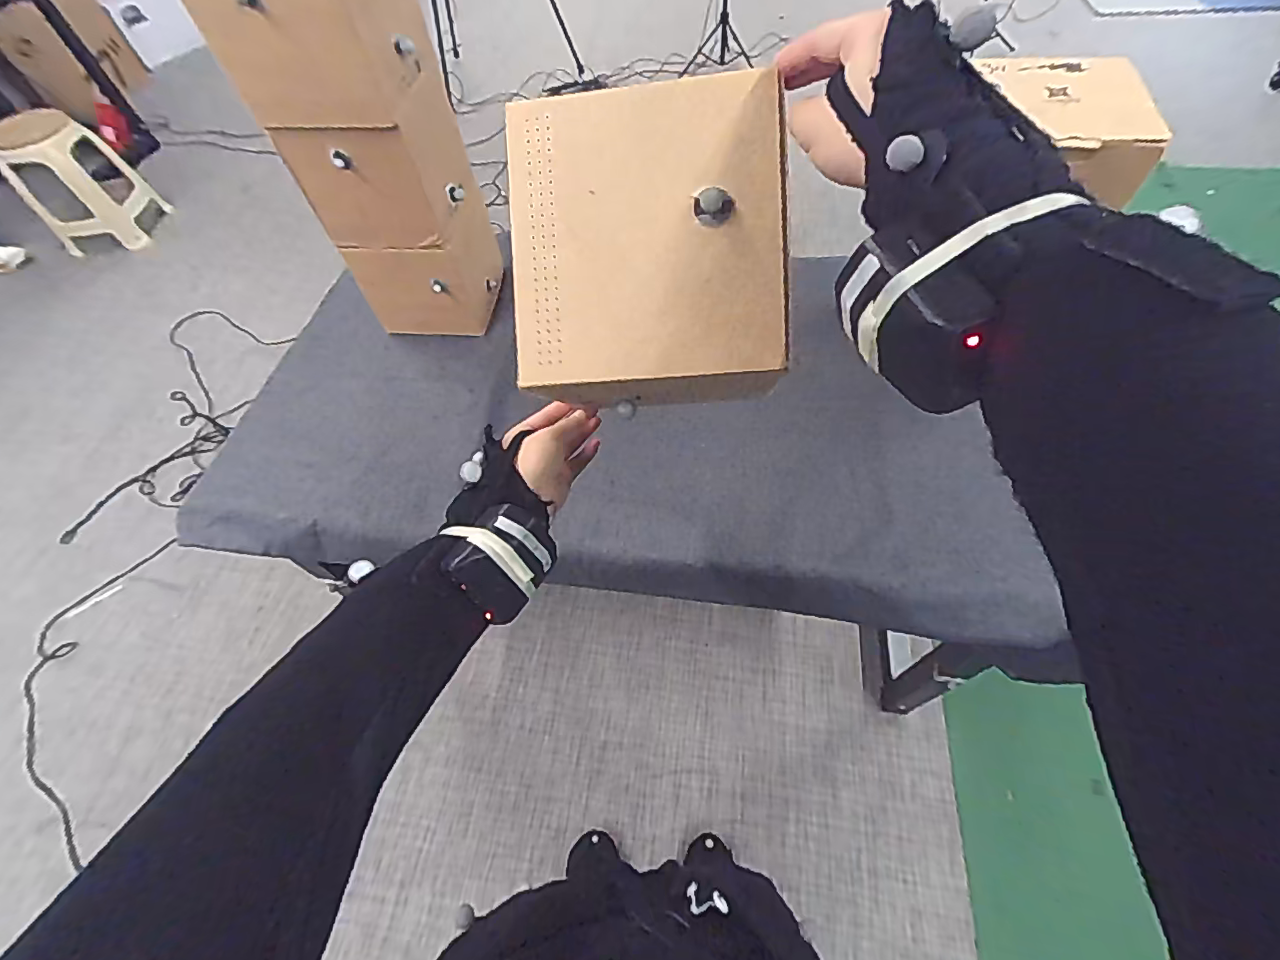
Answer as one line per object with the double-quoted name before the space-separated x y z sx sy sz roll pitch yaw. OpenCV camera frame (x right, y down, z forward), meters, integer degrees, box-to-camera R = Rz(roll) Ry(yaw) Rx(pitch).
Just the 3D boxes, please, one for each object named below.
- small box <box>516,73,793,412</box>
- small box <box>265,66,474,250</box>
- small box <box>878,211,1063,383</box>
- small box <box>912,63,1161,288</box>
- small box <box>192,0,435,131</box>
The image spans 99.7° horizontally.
"small box" 0.014 -0.149 0.401 0.176 0.168 0.179 -1 91 10
"small box" -0.354 -0.440 0.748 0.179 0.176 0.168 3 60 4
"small box" 0.448 -0.265 0.769 0.168 0.176 0.179 7 59 9
"small box" 0.432 -0.348 0.628 0.168 0.176 0.179 8 60 9
"small box" -0.361 -0.519 0.604 0.179 0.176 0.168 4 60 6
